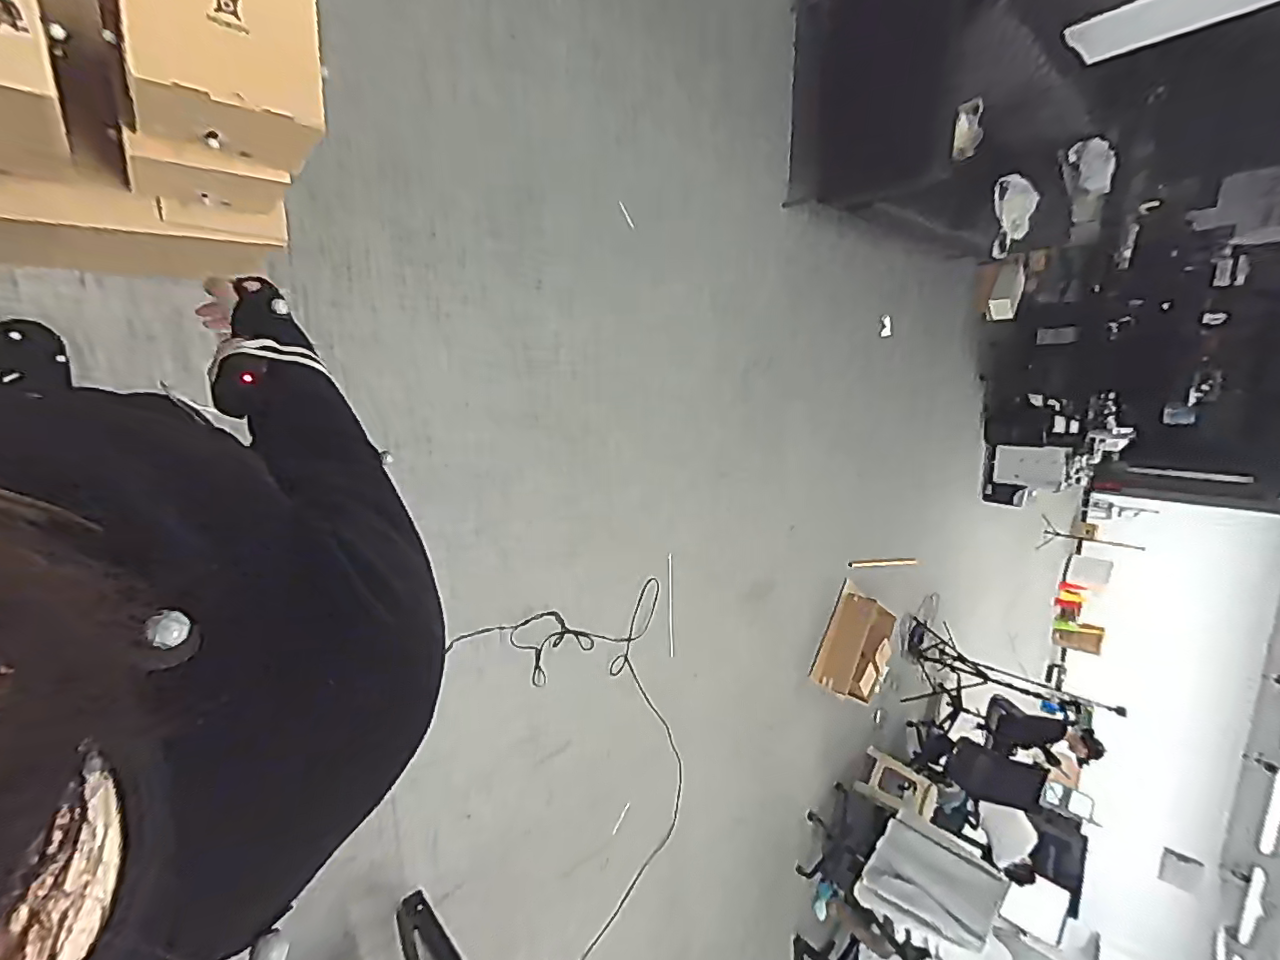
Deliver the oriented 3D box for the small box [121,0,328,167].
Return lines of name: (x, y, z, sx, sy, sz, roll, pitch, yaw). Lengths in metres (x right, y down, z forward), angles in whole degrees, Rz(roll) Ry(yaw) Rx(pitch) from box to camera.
small box: (-0.472, -0.492, 0.613, 0.168, 0.176, 0.179, -8, 102, -41)
